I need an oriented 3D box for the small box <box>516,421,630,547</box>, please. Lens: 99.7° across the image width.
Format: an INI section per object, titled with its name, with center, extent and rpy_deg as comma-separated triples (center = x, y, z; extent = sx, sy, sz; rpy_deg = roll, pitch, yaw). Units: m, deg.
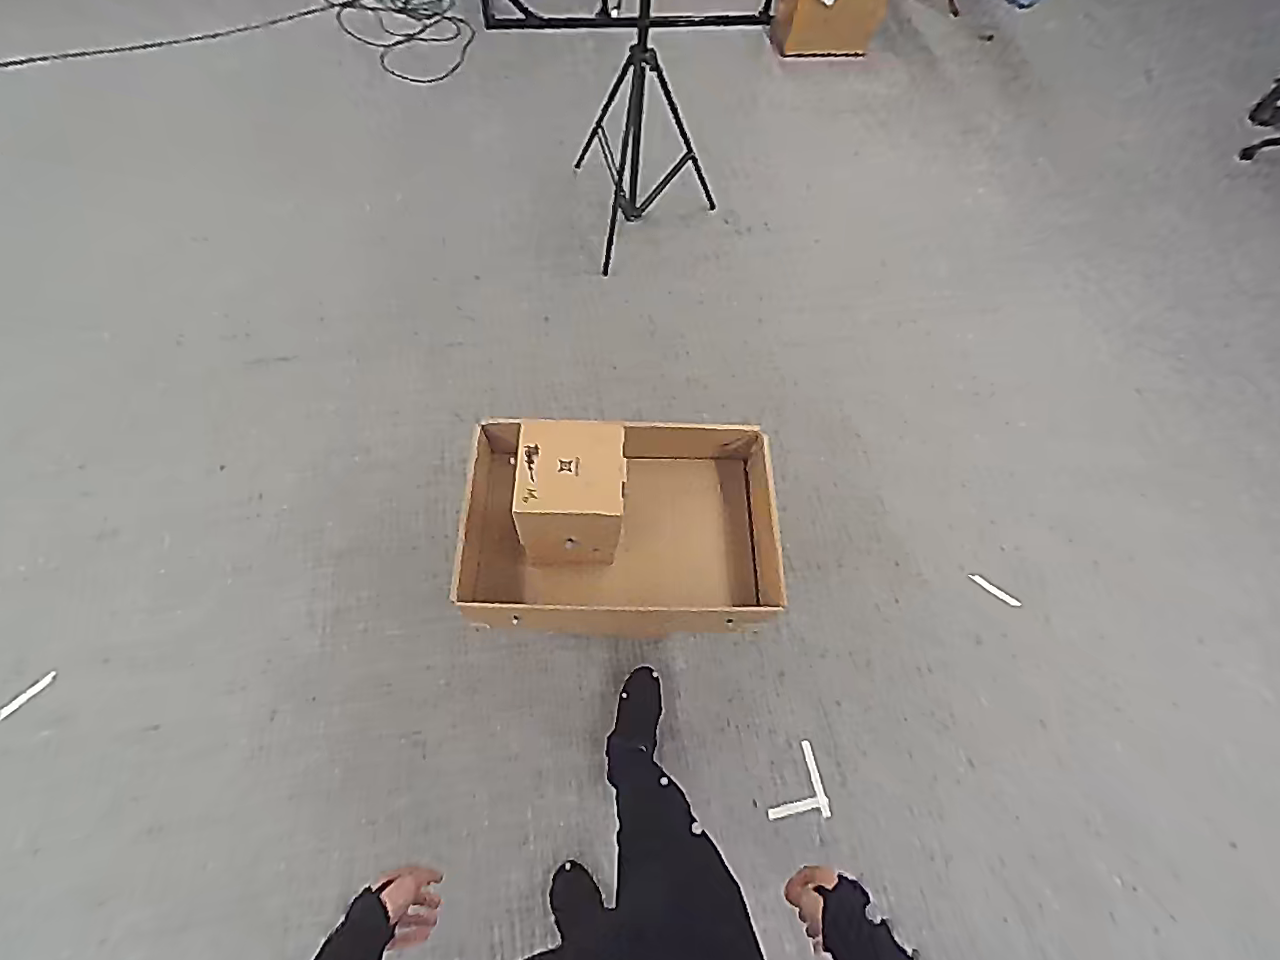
[small box]
center = -0.113, 0.014, 0.951
extent = 0.179, 0.176, 0.168
rpy_deg = 3, 64, -5
